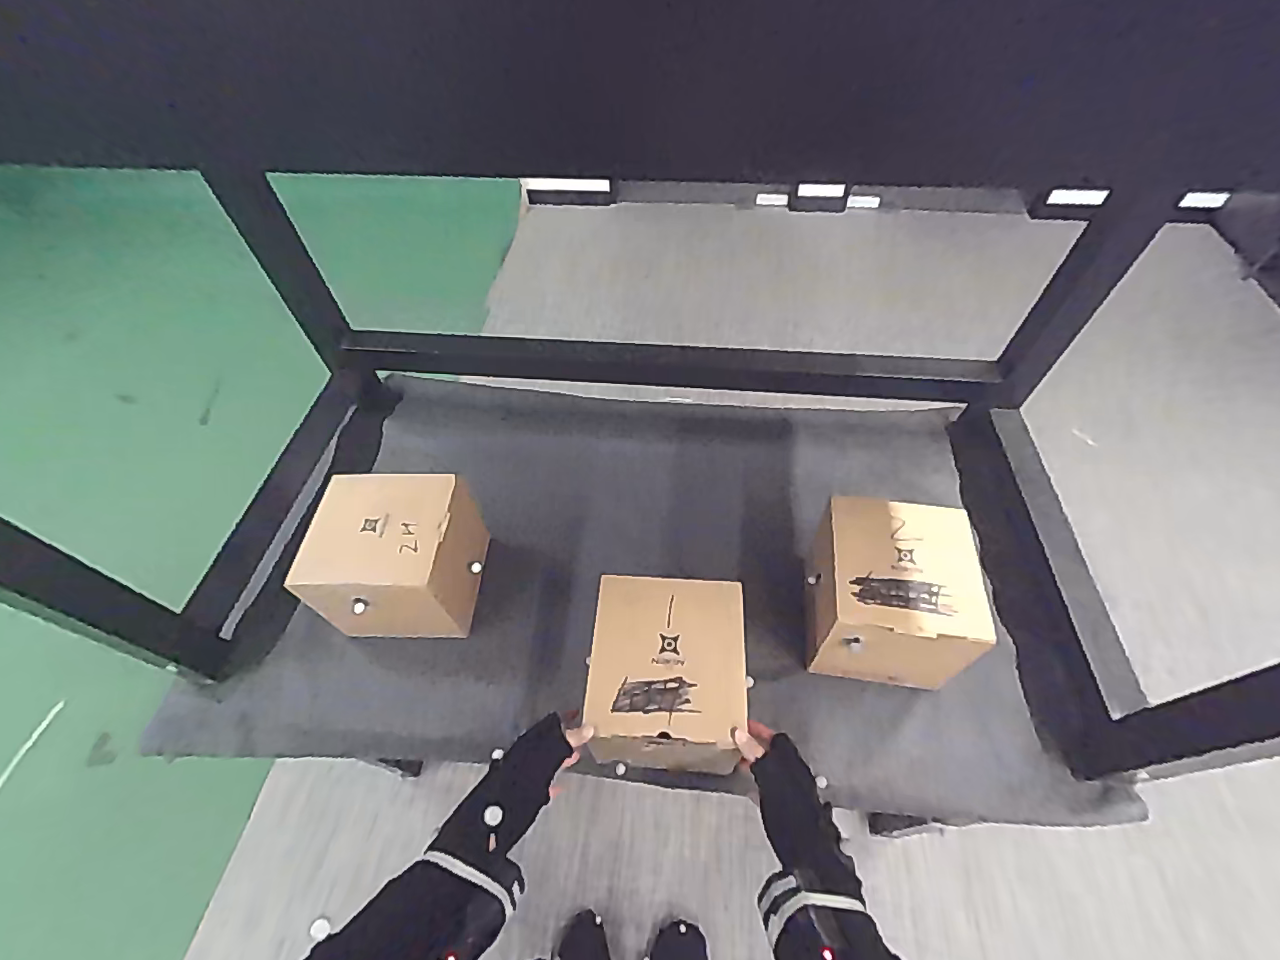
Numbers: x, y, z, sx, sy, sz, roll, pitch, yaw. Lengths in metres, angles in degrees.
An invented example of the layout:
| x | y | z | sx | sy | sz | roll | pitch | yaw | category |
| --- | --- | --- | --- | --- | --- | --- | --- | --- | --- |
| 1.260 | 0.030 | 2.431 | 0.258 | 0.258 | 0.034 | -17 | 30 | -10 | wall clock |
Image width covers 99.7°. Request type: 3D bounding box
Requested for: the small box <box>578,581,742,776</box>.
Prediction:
| x | y | z | sx | sy | sz | roll | pitch | yaw | category |
| --- | --- | --- | --- | --- | --- | --- | --- | --- | --- |
| 0.030 | 0.239 | 0.642 | 0.168 | 0.176 | 0.179 | 3 | 53 | 4 | small box |

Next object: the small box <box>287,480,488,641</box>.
| x | y | z | sx | sy | sz | roll | pitch | yaw | category |
| --- | --- | --- | --- | --- | --- | --- | --- | --- | --- |
| -0.330 | 0.115 | 0.751 | 0.179 | 0.176 | 0.168 | 1 | 53 | 2 | small box |
